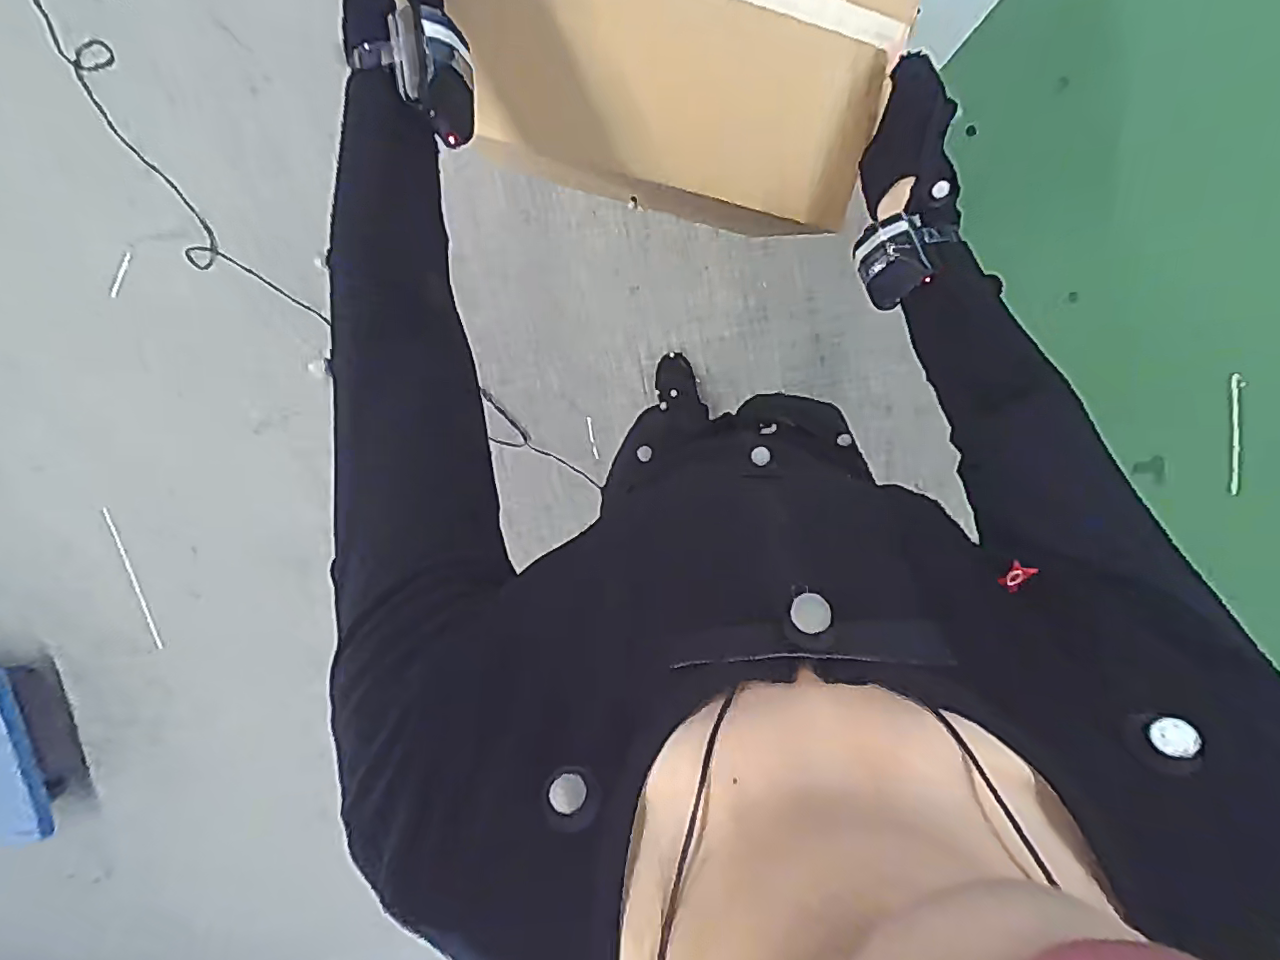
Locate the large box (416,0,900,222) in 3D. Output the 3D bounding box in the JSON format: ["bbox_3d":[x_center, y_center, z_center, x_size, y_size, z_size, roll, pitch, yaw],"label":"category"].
[{"bbox_3d":[0.020,-0.490,0.586,0.408,0.320,0.320,11,112,-8],"label":"large box"}]
